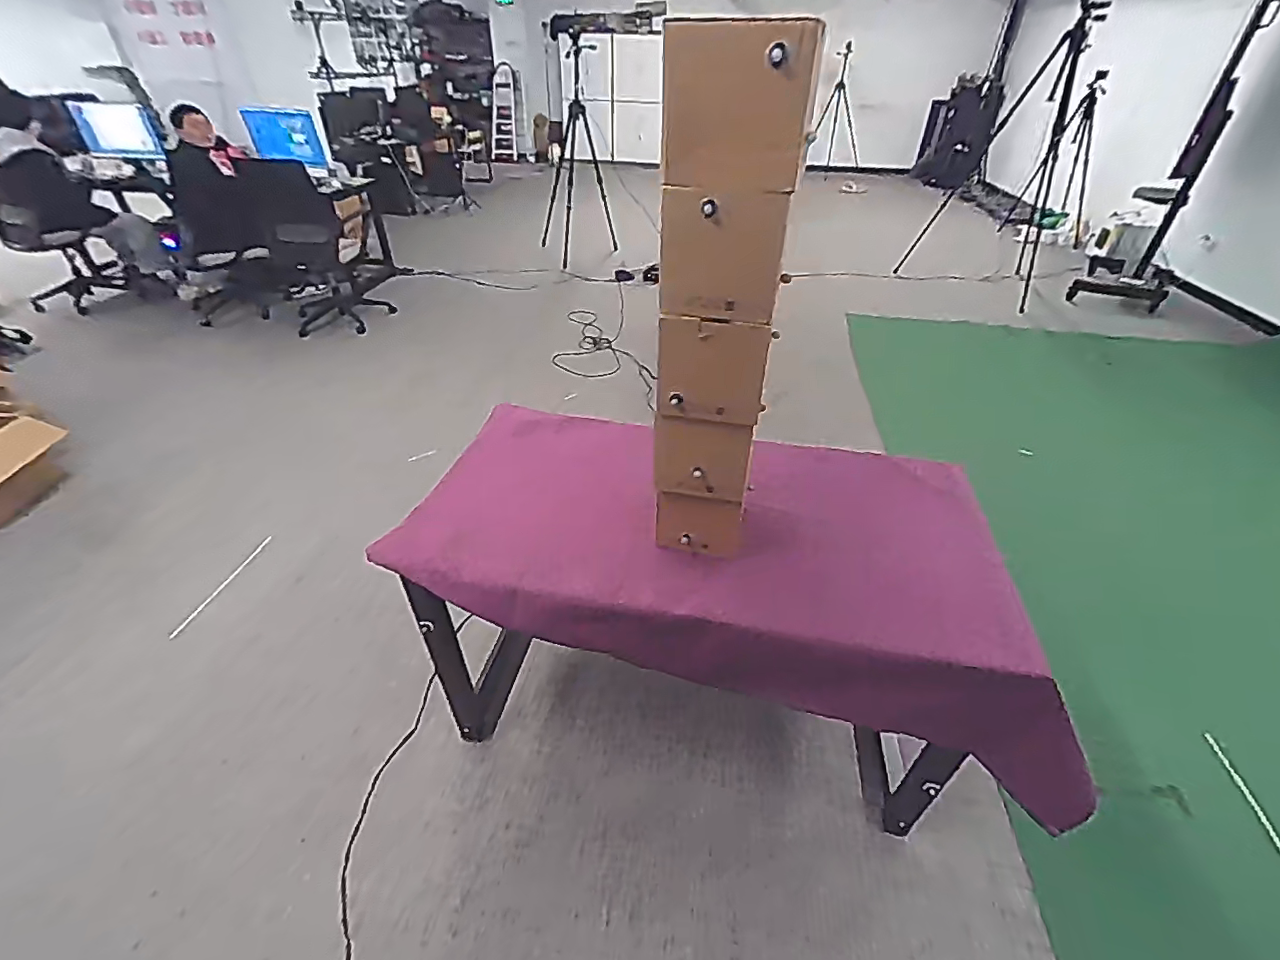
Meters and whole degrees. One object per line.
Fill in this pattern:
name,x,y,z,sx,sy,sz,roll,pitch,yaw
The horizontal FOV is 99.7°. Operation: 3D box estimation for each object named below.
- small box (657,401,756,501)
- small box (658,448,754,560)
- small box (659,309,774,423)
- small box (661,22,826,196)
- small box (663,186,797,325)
small box,0.126,-0.087,1.001,0.168,0.176,0.179,8,38,11
small box,0.133,0.034,1.111,0.168,0.176,0.179,9,39,12
small box,0.129,-0.211,0.893,0.168,0.176,0.179,9,37,11
small box,0.130,-0.474,0.699,0.179,0.176,0.168,12,39,13
small box,0.131,-0.344,0.798,0.168,0.176,0.179,9,37,13
